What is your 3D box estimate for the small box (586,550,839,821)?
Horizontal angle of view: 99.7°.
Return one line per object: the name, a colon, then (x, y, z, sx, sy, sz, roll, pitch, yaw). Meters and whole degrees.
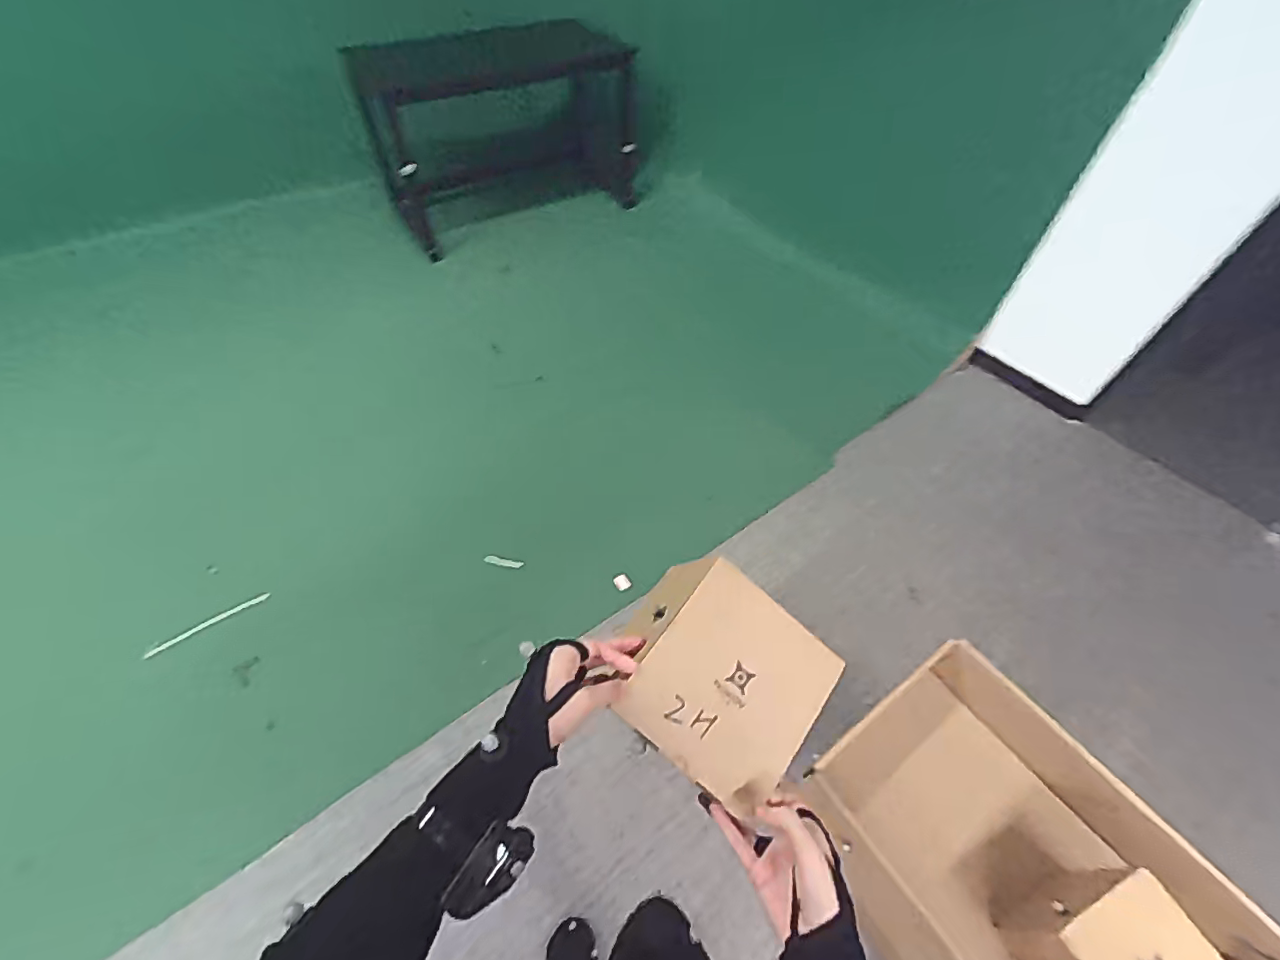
small box: (0.061, 0.197, 0.565, 0.168, 0.176, 0.179, 42, 71, -1)
